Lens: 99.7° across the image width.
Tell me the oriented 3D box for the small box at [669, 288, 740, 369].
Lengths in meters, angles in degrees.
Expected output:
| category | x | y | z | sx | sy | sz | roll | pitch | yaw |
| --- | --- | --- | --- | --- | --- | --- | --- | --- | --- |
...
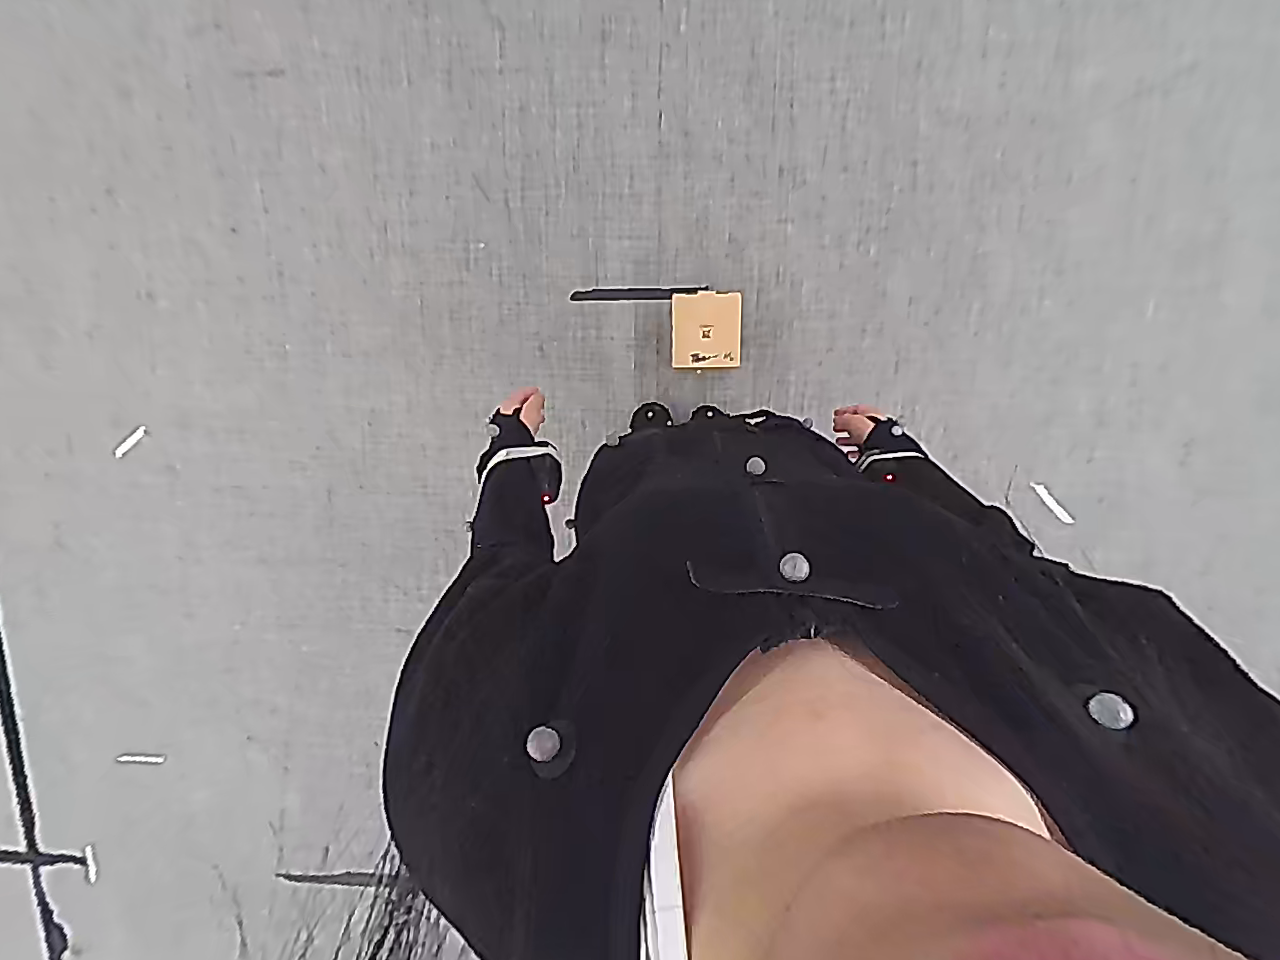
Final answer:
| category | x | y | z | sx | sy | sz | roll | pitch | yaw |
| --- | --- | --- | --- | --- | --- | --- | --- | --- | --- |
| small box | 0.158 | -0.377 | 1.368 | 0.168 | 0.176 | 0.179 | 0 | 98 | 2 |
